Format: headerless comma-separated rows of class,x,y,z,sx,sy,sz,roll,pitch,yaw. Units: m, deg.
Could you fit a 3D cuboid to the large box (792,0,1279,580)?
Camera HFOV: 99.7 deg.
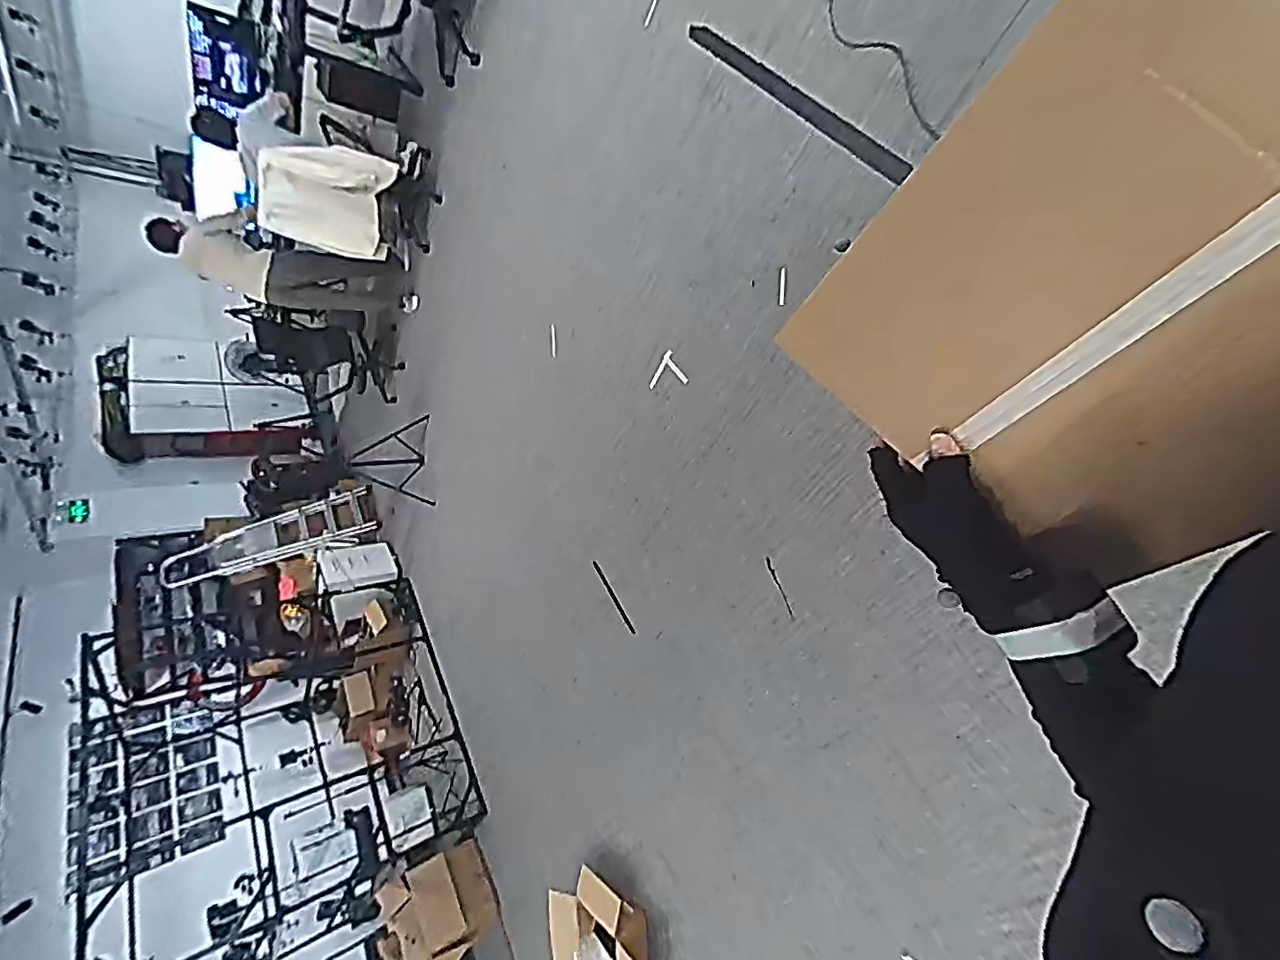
large box,0.396,-0.201,0.405,0.320,0.320,0.408,42,137,4
